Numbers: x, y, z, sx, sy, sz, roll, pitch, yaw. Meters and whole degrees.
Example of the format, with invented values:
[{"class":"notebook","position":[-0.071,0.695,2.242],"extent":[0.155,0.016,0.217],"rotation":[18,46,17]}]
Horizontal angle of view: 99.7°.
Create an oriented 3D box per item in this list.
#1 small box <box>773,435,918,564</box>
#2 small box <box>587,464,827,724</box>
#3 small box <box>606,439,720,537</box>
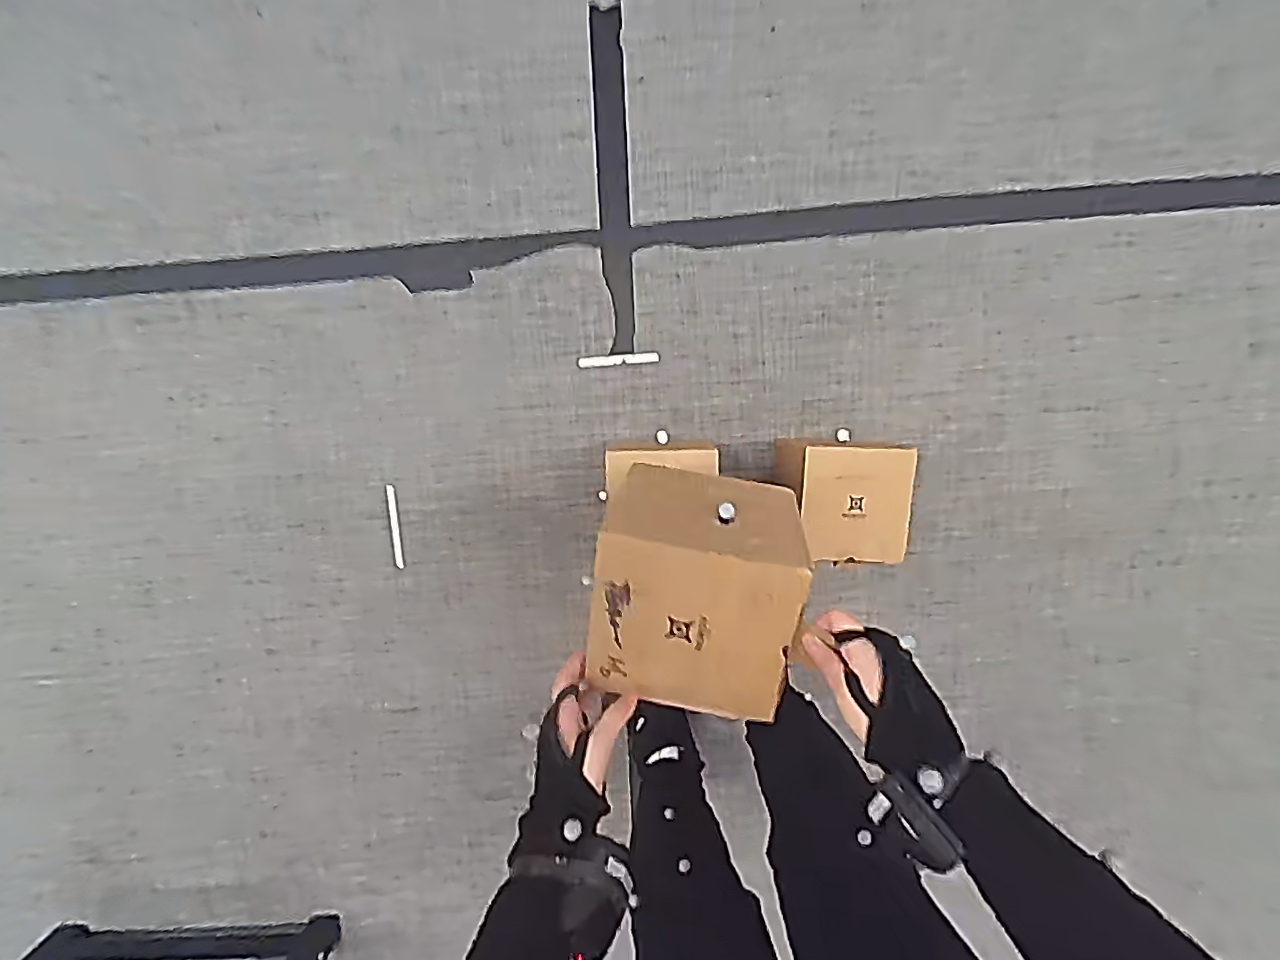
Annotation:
[{"class":"small box","position":[0.316,0.024,0.871],"extent":[0.168,0.176,0.179],"rotation":[2,99,-2]},{"class":"small box","position":[0.058,0.096,0.520],"extent":[0.179,0.176,0.168],"rotation":[10,113,4]},{"class":"small box","position":[0.033,0.028,0.866],"extent":[0.168,0.176,0.179],"rotation":[-1,98,-1]}]
